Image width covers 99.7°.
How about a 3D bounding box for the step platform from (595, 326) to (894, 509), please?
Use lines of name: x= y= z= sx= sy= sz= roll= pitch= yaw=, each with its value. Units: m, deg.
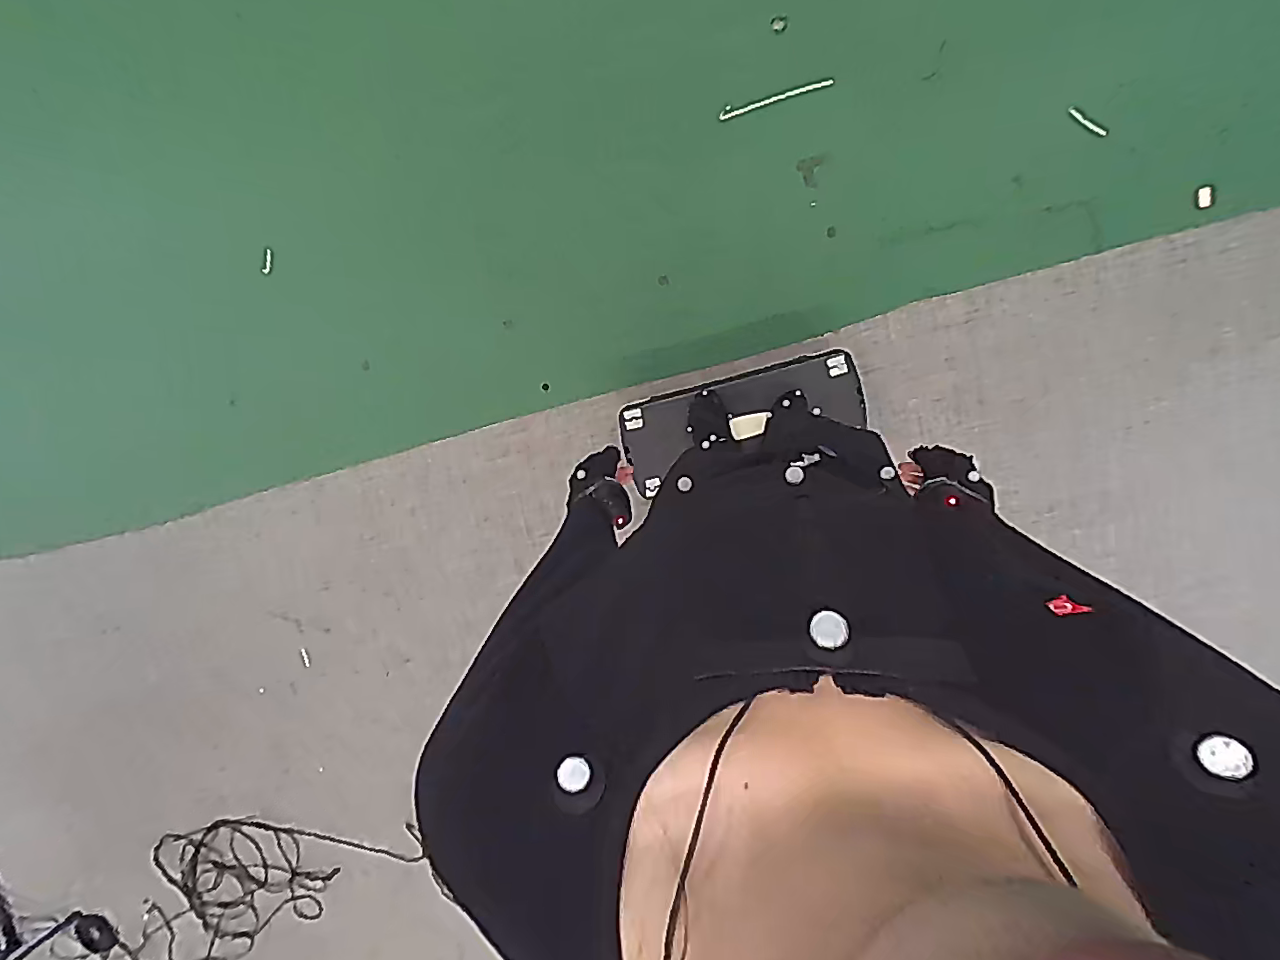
step platform: x=0.244 y=-0.155 z=1.349 sx=0.684 sy=0.204 sz=0.286 roll=-15 pitch=99 yaw=8
